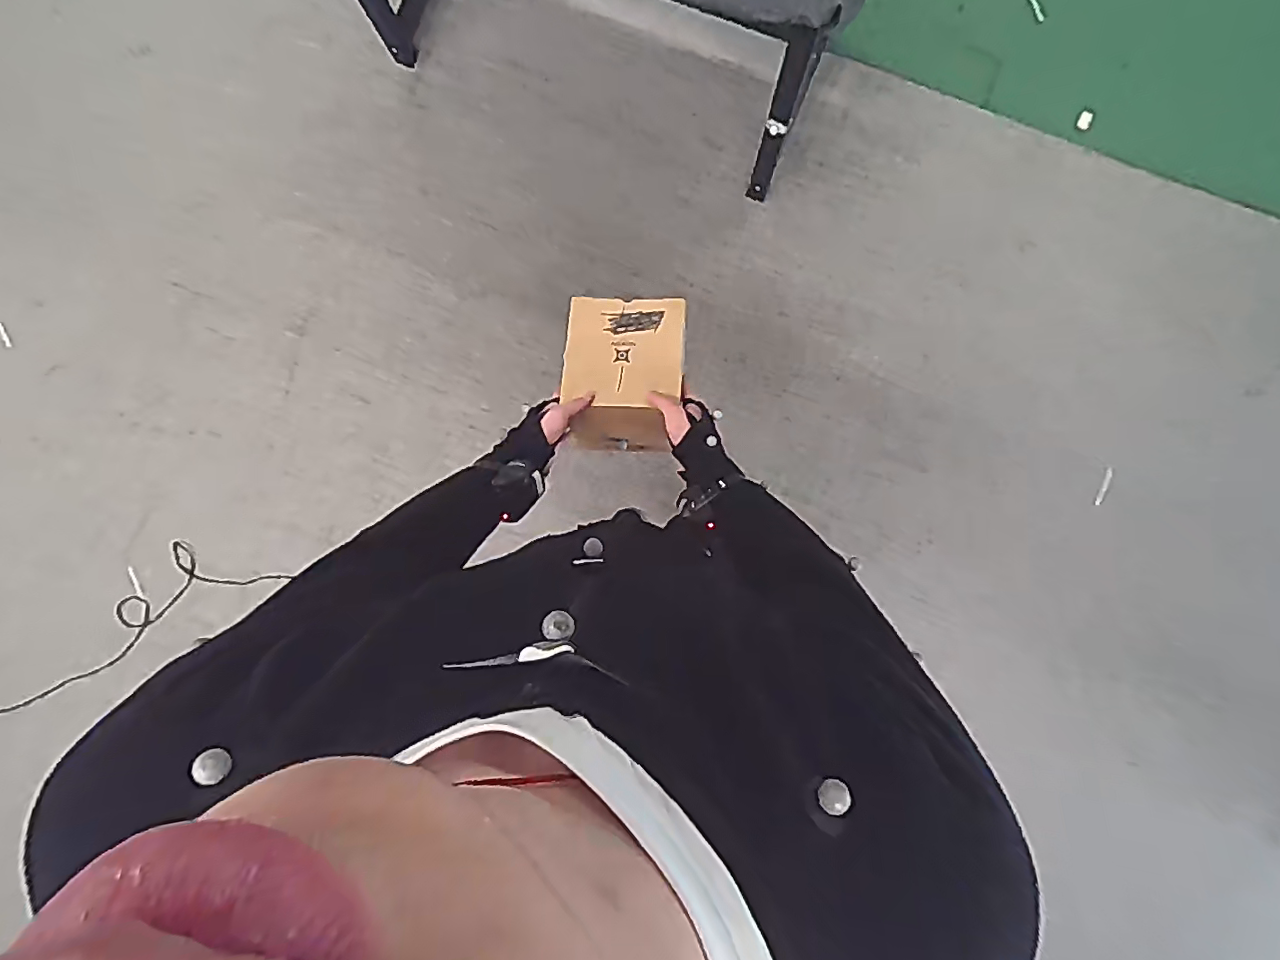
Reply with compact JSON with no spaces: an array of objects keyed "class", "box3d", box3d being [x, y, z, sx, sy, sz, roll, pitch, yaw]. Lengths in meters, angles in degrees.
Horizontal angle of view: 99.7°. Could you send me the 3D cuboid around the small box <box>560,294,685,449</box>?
[{"class":"small box","box3d":[-0.018,-0.161,0.830,0.168,0.176,0.179,2,73,5]}]
